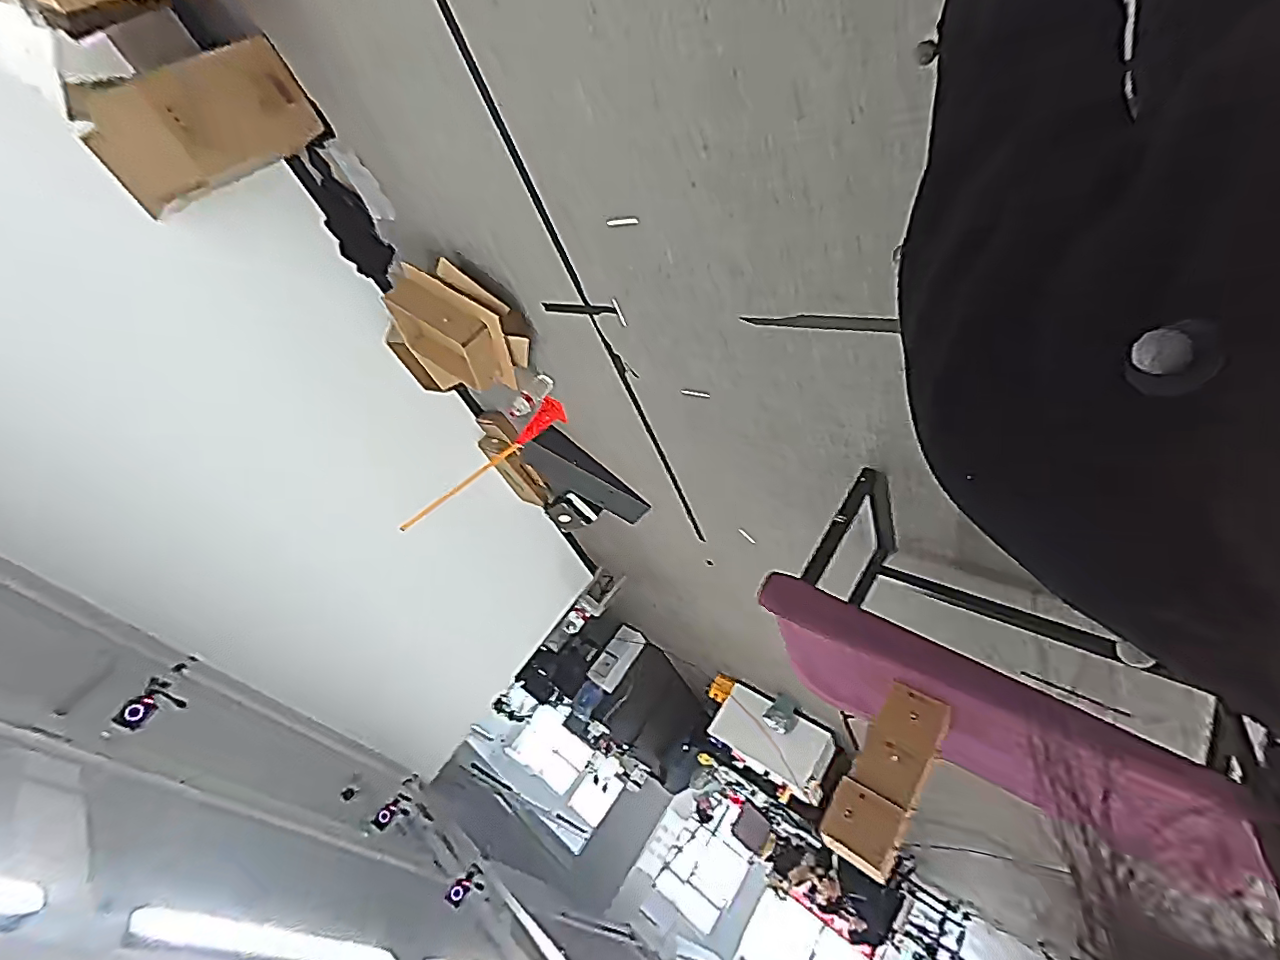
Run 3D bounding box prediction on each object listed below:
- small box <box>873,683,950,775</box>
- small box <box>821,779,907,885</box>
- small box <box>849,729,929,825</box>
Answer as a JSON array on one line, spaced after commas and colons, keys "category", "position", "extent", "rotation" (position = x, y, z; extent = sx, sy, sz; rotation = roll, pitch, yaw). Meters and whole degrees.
[{"category": "small box", "position": [0.821, 0.748, 1.637], "extent": [0.168, 0.176, 0.179], "rotation": [20, 149, 37]}, {"category": "small box", "position": [0.623, 0.964, 1.493], "extent": [0.168, 0.176, 0.179], "rotation": [18, 148, 41]}, {"category": "small box", "position": [0.726, 0.865, 1.573], "extent": [0.168, 0.176, 0.179], "rotation": [19, 148, 37]}]
